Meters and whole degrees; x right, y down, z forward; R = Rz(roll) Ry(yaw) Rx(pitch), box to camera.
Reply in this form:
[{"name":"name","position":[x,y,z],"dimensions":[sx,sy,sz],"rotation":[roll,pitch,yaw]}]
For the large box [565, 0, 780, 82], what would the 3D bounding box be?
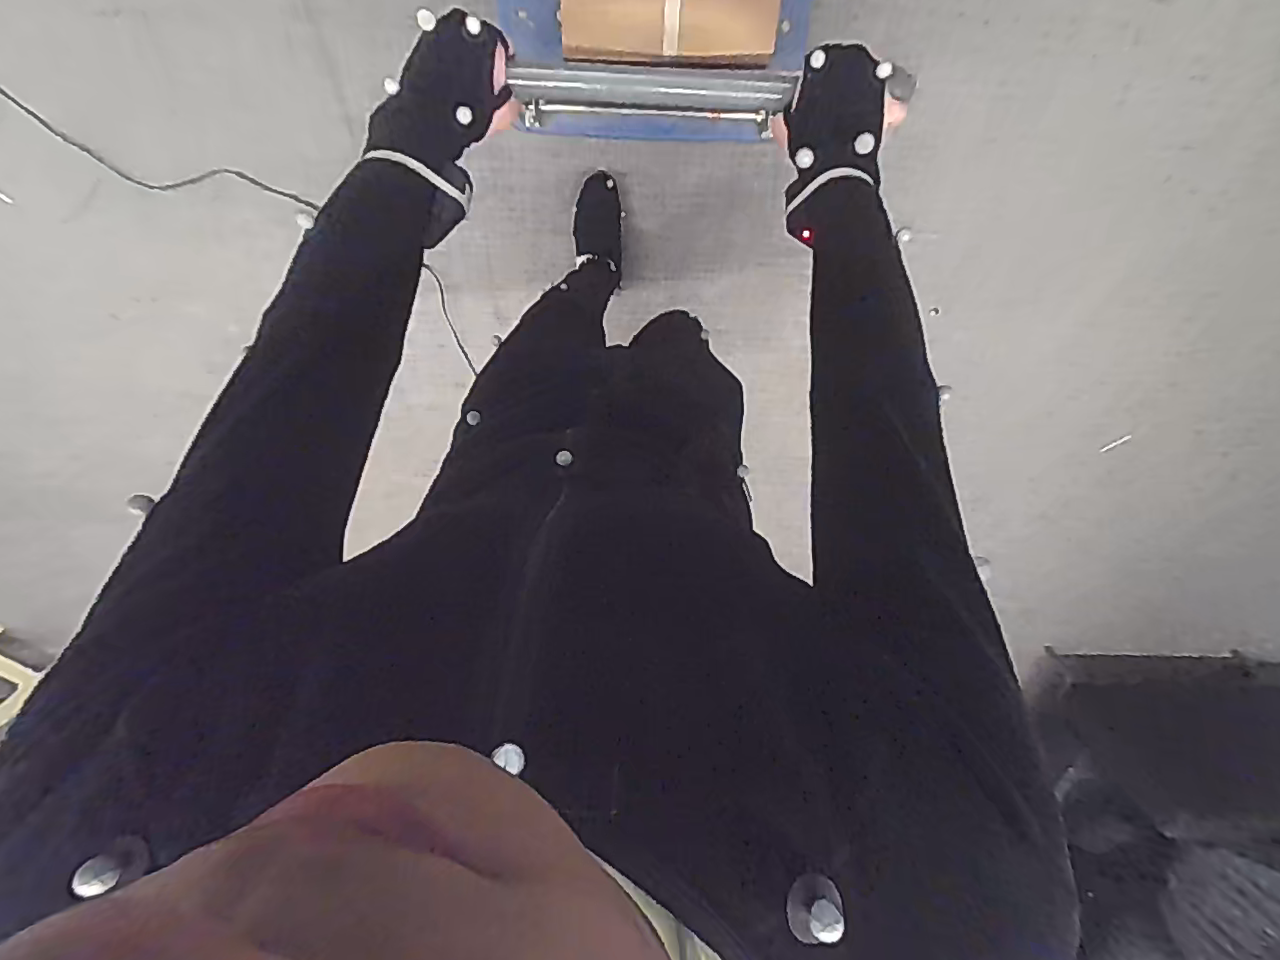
[{"name":"large box","position":[0.051,-0.872,0.833],"dimensions":[0.320,0.320,0.408],"rotation":[2,123,-1]}]
